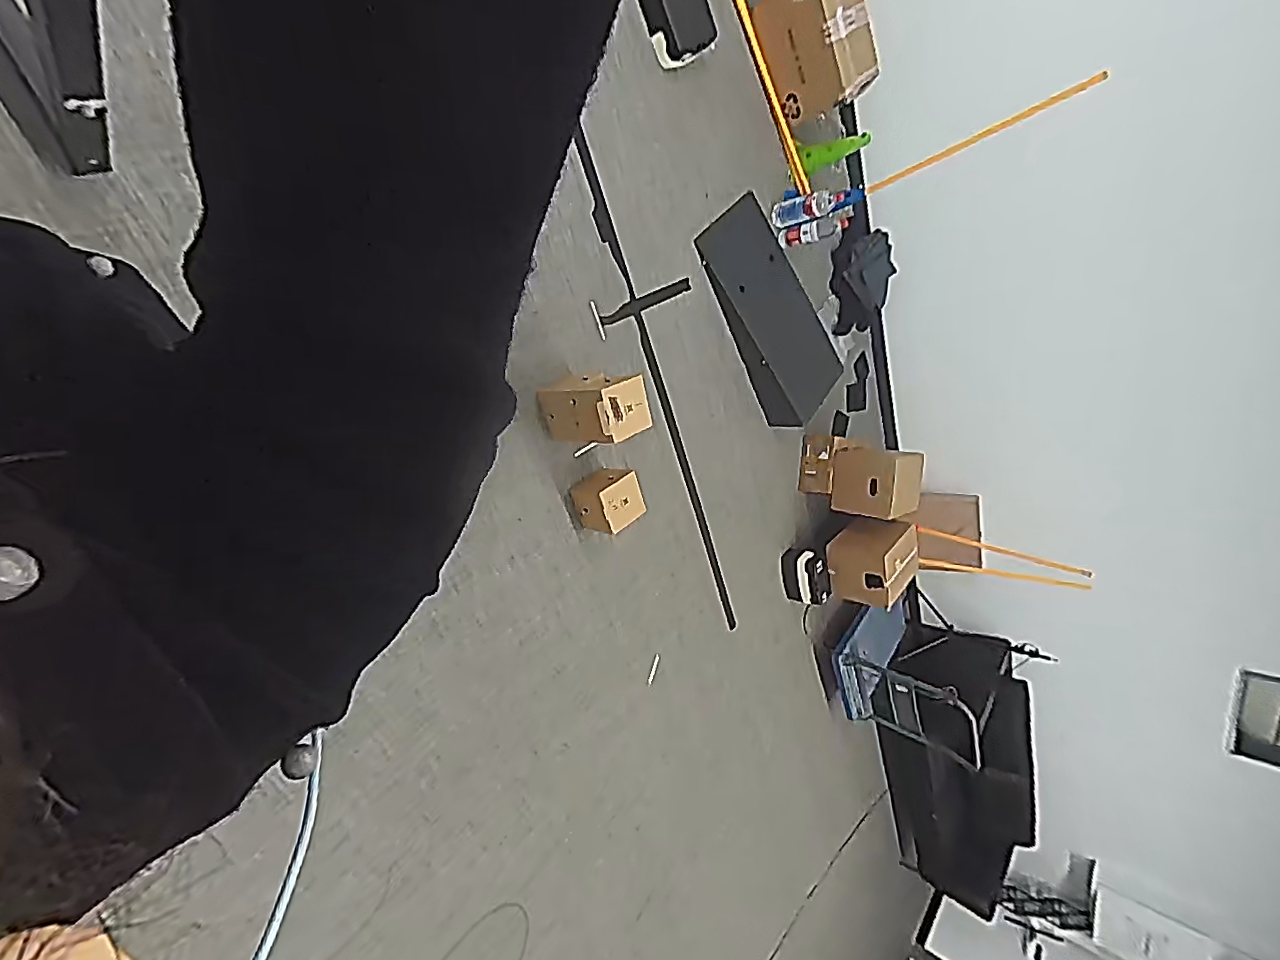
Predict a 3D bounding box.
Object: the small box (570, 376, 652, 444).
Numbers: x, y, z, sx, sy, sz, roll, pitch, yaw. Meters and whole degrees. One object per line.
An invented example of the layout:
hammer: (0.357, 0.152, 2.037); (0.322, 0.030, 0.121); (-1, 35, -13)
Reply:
small box: (-0.096, -0.214, 1.659); (0.179, 0.176, 0.168); (-30, 115, -39)

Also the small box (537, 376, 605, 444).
small box: (-0.208, -0.235, 1.778); (0.168, 0.176, 0.179); (-35, 119, -37)

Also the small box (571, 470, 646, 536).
small box: (-0.112, 0.074, 1.908); (0.179, 0.176, 0.168); (-35, 117, -36)
